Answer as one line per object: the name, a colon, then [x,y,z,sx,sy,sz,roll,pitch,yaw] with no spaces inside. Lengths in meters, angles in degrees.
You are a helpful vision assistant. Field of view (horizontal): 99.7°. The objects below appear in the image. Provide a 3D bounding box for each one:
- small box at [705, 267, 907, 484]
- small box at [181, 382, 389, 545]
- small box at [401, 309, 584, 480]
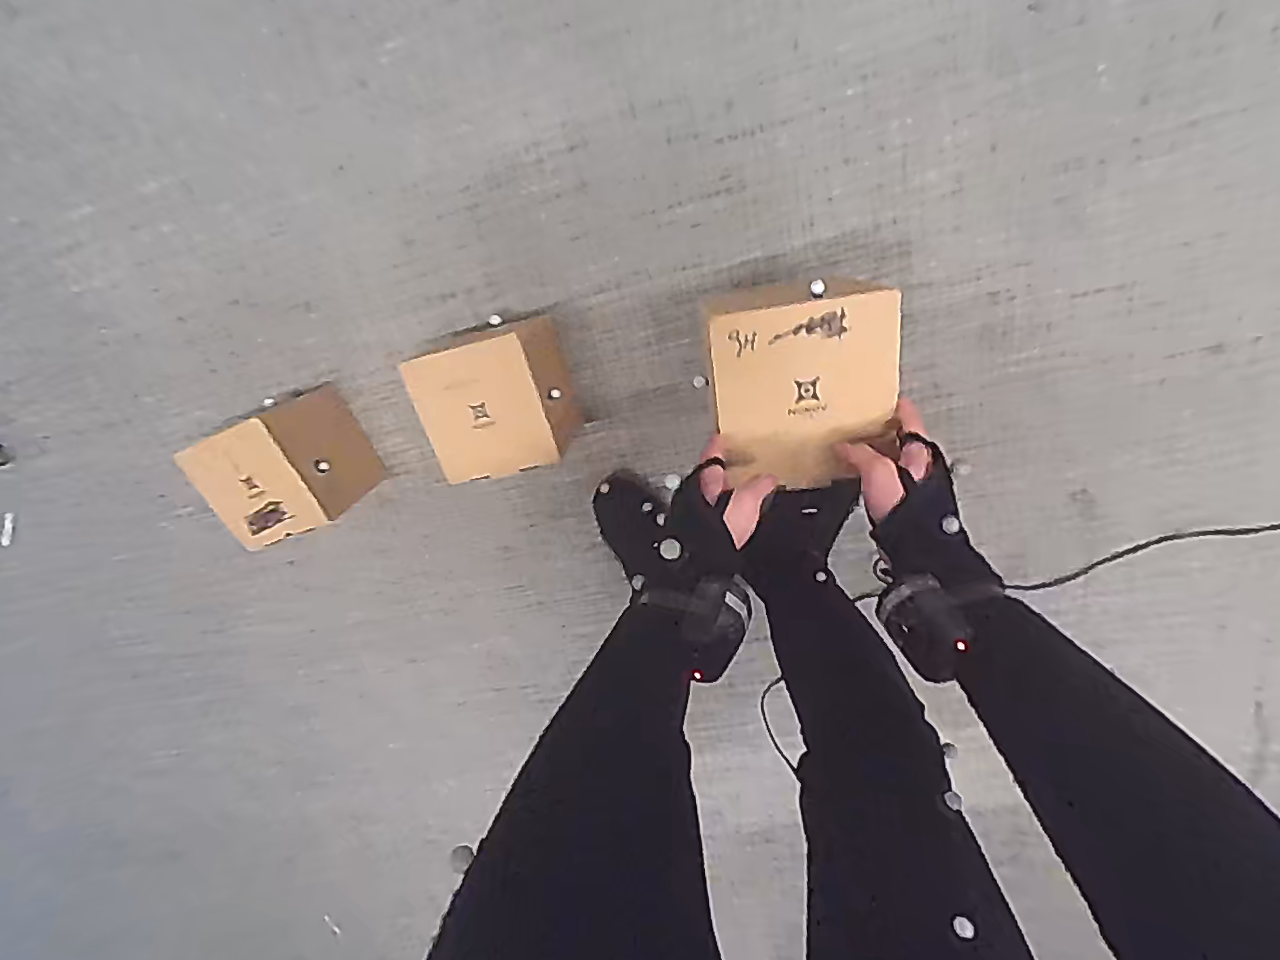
small box: [0.161,-0.115,0.569,0.168,0.176,0.179,-7,115,7]
small box: [-0.538,-0.030,0.848,0.168,0.176,0.179,-18,112,15]
small box: [-0.190,-0.125,0.759,0.168,0.176,0.179,-12,113,11]
